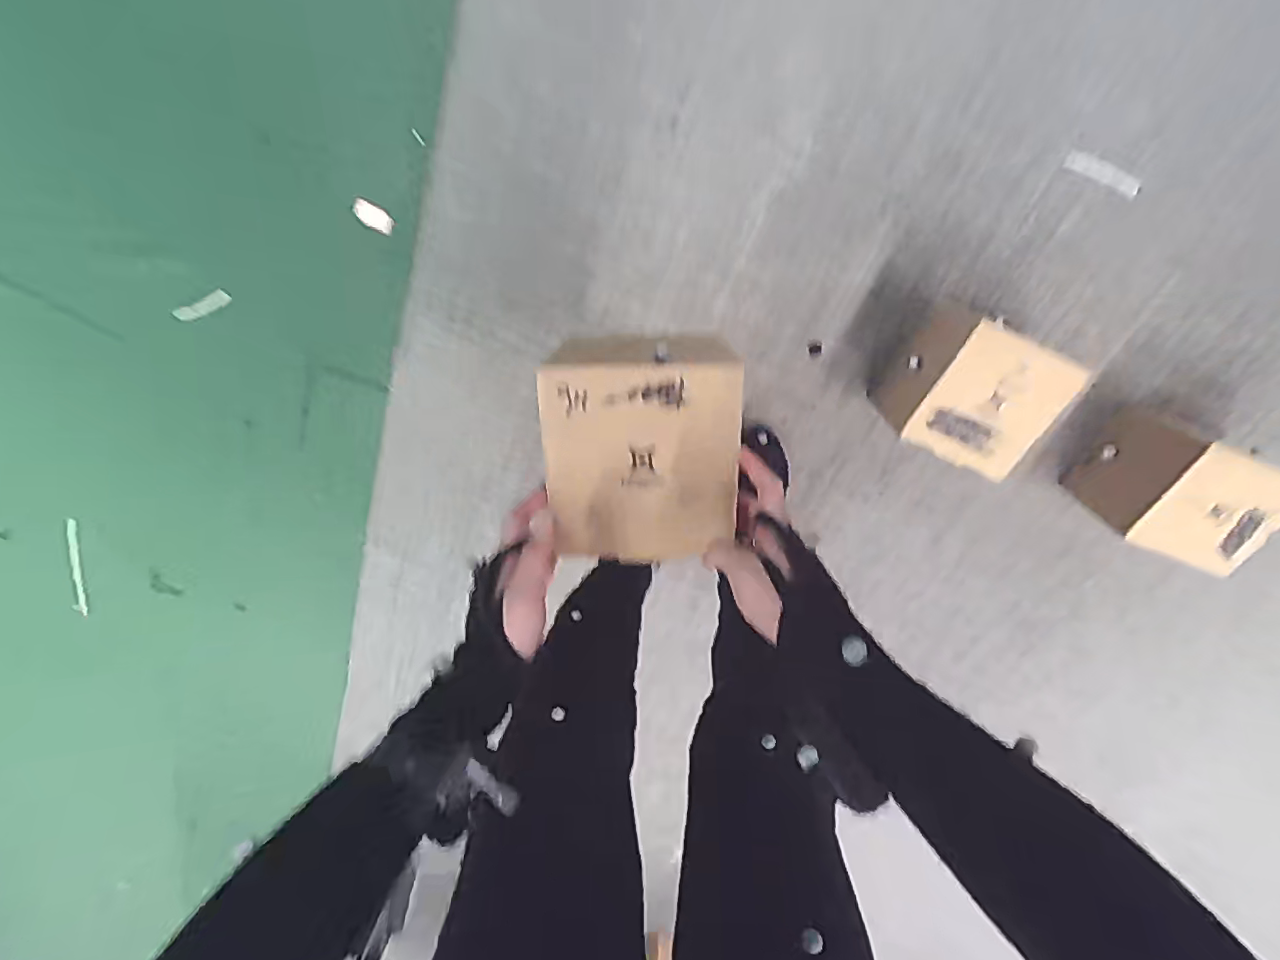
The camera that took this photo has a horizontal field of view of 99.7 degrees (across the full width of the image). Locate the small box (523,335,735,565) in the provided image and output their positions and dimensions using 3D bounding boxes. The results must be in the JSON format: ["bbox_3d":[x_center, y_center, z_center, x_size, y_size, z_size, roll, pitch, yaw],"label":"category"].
[{"bbox_3d":[-0.006,-0.036,0.516,0.168,0.176,0.179,-1,113,1],"label":"small box"}]

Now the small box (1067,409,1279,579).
[{"bbox_3d":[0.809,0.012,0.807,0.179,0.176,0.168,21,117,-3],"label":"small box"}]

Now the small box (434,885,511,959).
[{"bbox_3d":[-0.513,1.389,1.662,0.179,0.176,0.168,18,117,-2],"label":"small box"}]

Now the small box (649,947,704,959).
[{"bbox_3d":[0.115,1.613,1.695,0.179,0.176,0.168,20,117,-2],"label":"small box"}]
